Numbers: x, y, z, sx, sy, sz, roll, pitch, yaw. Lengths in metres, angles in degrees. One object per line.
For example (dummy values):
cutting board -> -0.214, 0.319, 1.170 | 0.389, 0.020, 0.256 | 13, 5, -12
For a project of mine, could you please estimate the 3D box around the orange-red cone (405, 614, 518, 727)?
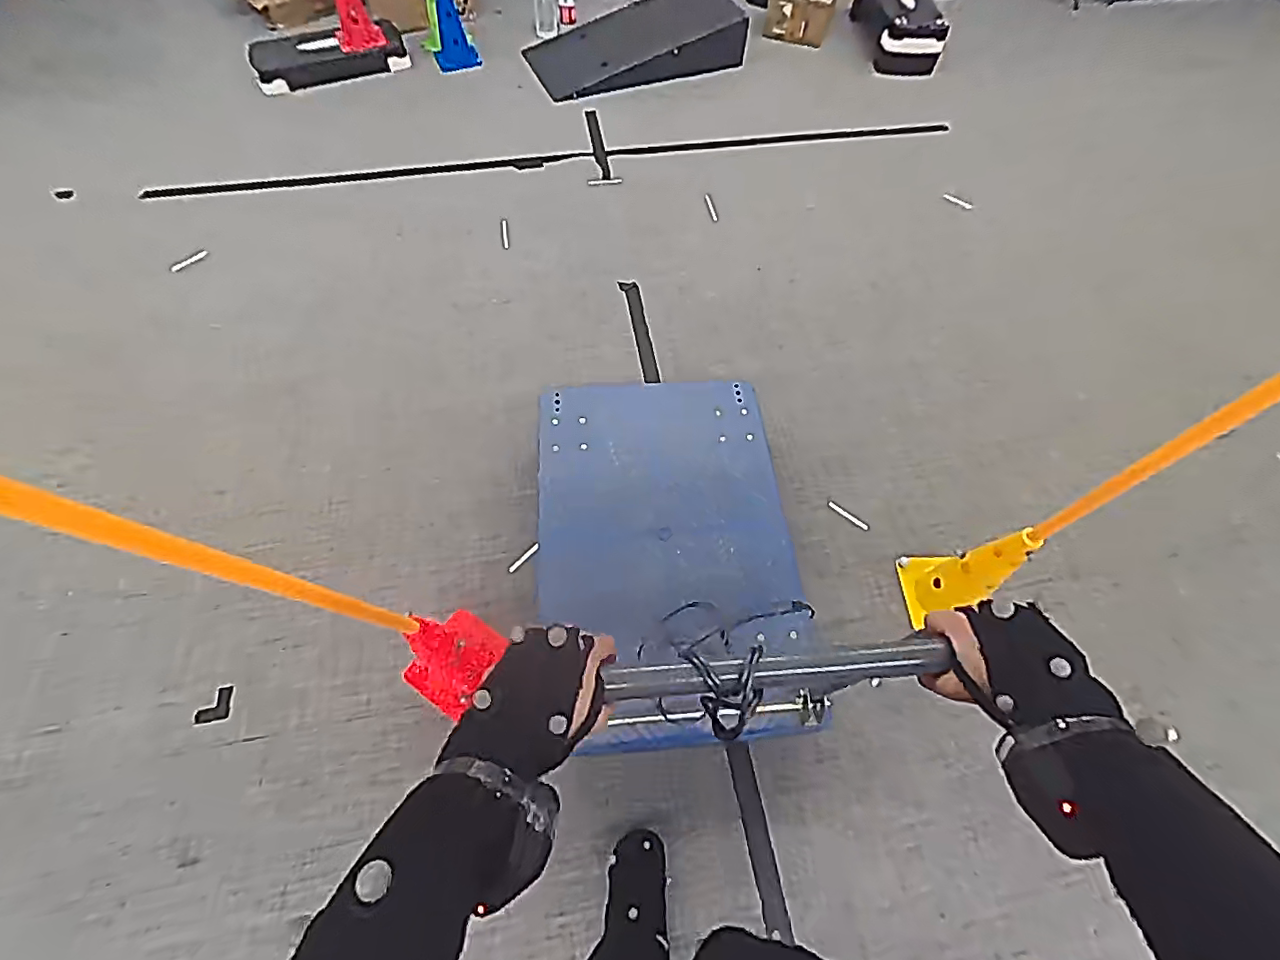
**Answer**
orange-red cone -> -0.399, 0.344, 1.090 | 0.198, 0.360, 0.199 | 33, 63, 15
